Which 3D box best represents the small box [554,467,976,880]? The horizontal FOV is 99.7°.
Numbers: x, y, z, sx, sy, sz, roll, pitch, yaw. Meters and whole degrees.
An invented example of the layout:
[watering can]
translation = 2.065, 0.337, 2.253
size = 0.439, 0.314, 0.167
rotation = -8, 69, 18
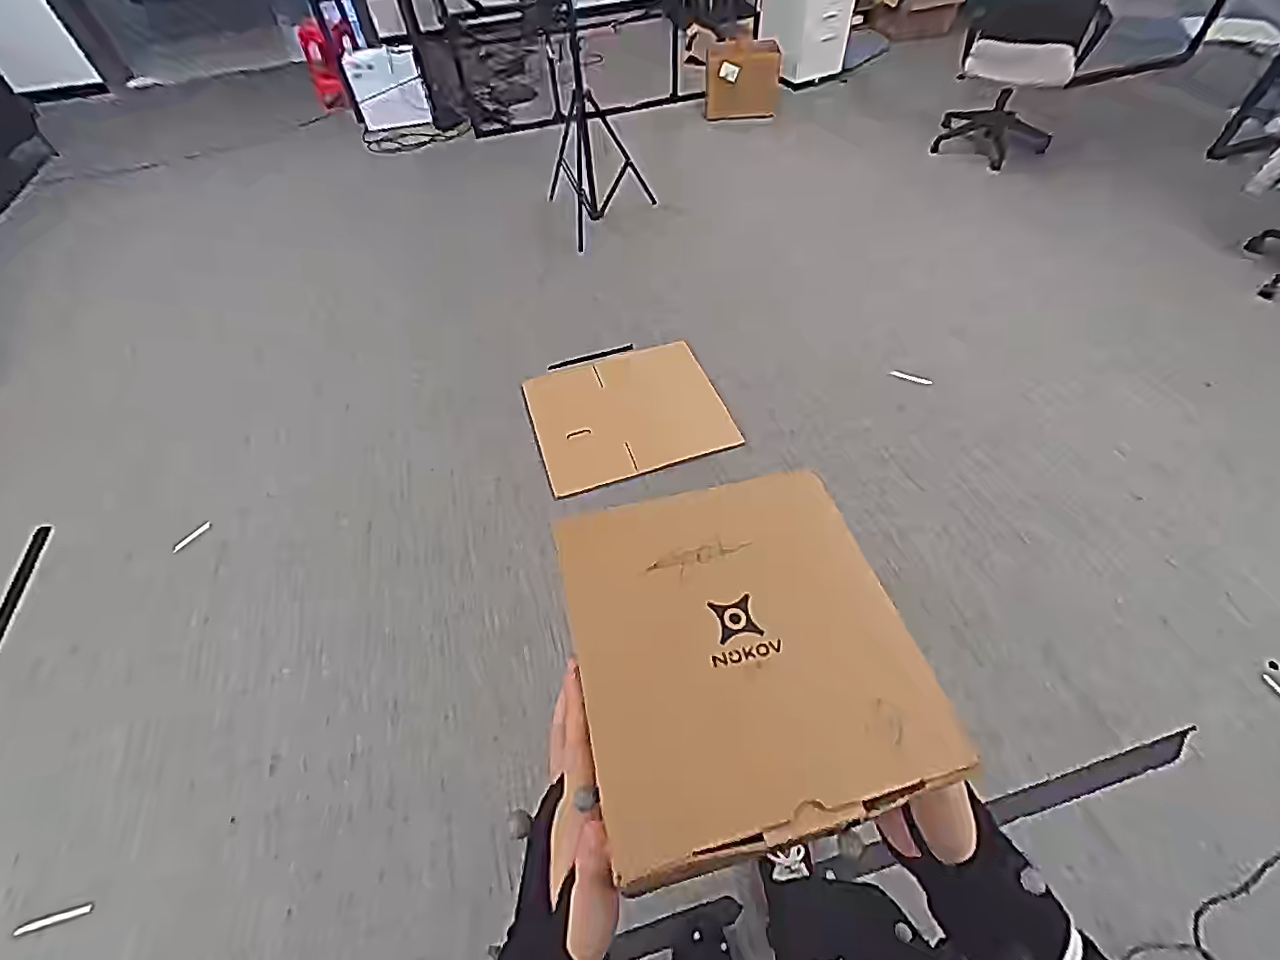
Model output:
[small box]
translation = 0.049, 0.122, 0.334
size = 0.168, 0.176, 0.179
rotation = -11, 51, -10
